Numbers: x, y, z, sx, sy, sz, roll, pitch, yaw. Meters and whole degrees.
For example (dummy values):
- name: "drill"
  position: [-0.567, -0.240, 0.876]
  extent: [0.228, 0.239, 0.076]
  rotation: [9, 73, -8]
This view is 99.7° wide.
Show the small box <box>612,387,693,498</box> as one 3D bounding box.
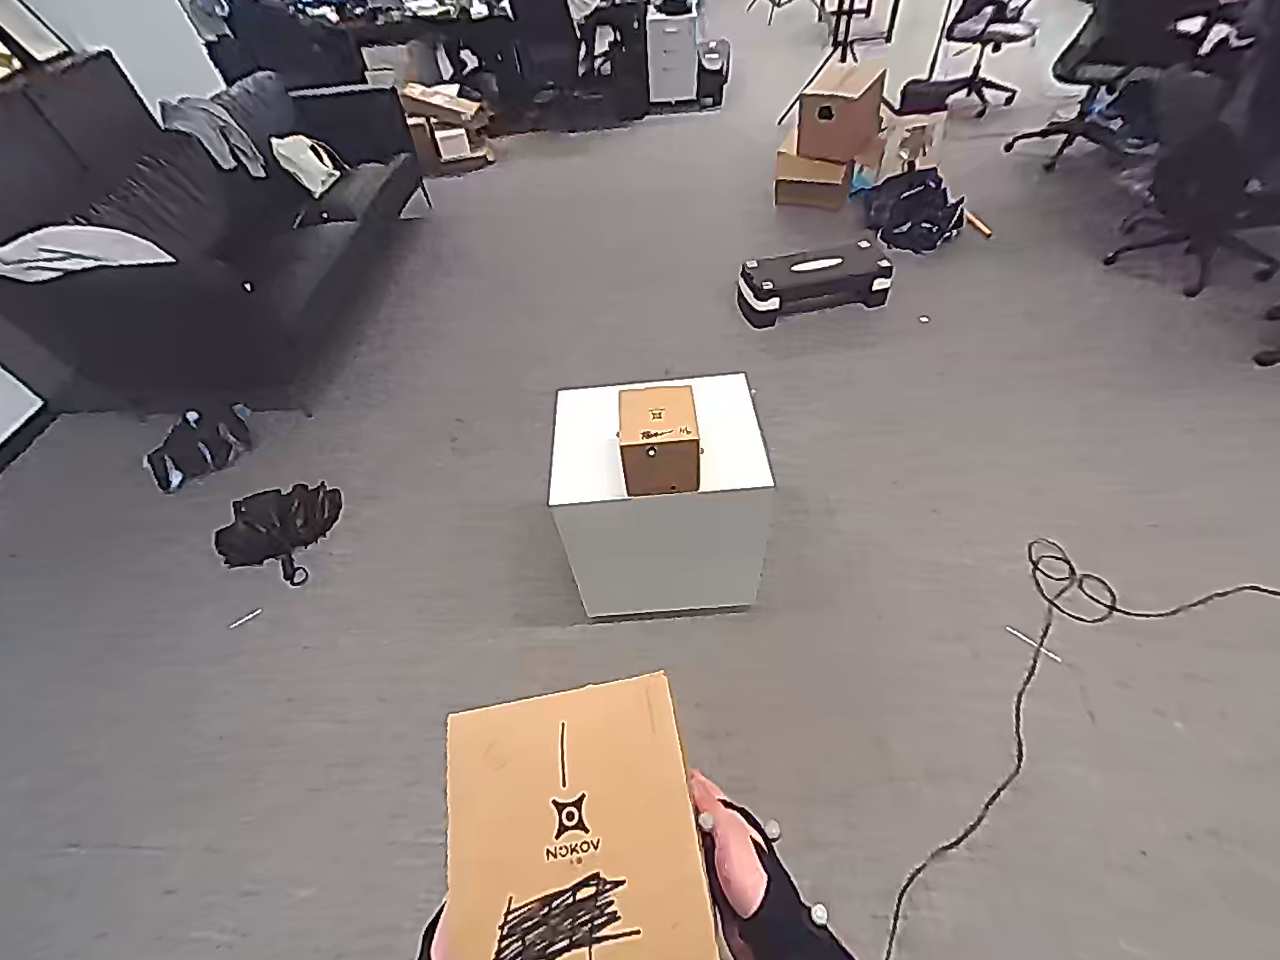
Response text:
- name: "small box"
  position: [0.027, -0.083, 1.206]
  extent: [0.168, 0.176, 0.179]
  rotation: [-5, 47, 2]
